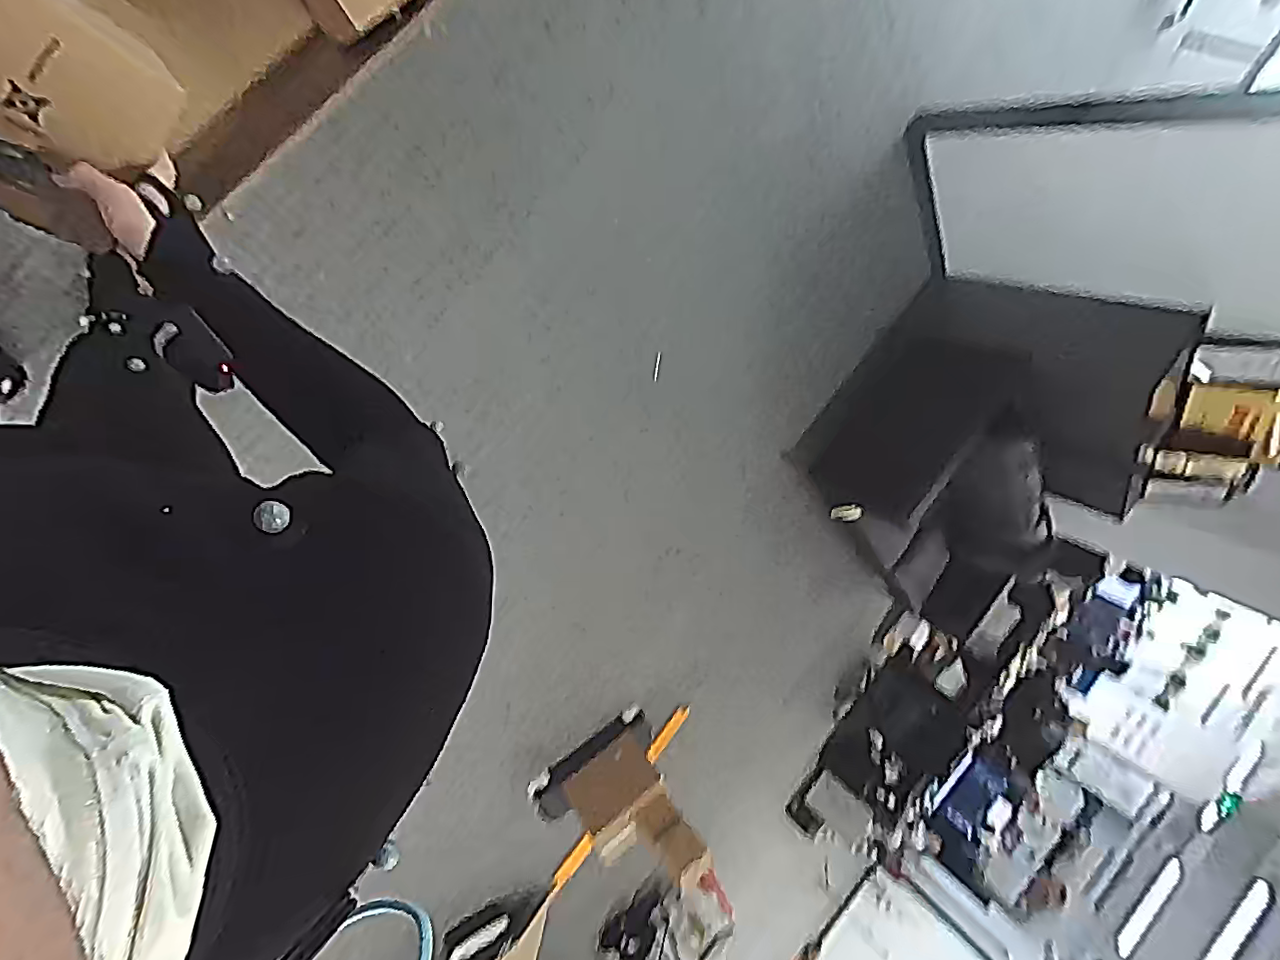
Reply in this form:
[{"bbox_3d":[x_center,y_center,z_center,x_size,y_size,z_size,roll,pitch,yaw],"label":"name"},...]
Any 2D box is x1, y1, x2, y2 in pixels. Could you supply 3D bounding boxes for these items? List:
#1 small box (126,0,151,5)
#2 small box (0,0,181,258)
[{"bbox_3d":[-0.580,-0.671,0.591,0.179,0.176,0.168,-48,137,-7],"label":"small box"},{"bbox_3d":[-0.549,-0.338,0.464,0.179,0.176,0.168,-51,153,10],"label":"small box"}]
